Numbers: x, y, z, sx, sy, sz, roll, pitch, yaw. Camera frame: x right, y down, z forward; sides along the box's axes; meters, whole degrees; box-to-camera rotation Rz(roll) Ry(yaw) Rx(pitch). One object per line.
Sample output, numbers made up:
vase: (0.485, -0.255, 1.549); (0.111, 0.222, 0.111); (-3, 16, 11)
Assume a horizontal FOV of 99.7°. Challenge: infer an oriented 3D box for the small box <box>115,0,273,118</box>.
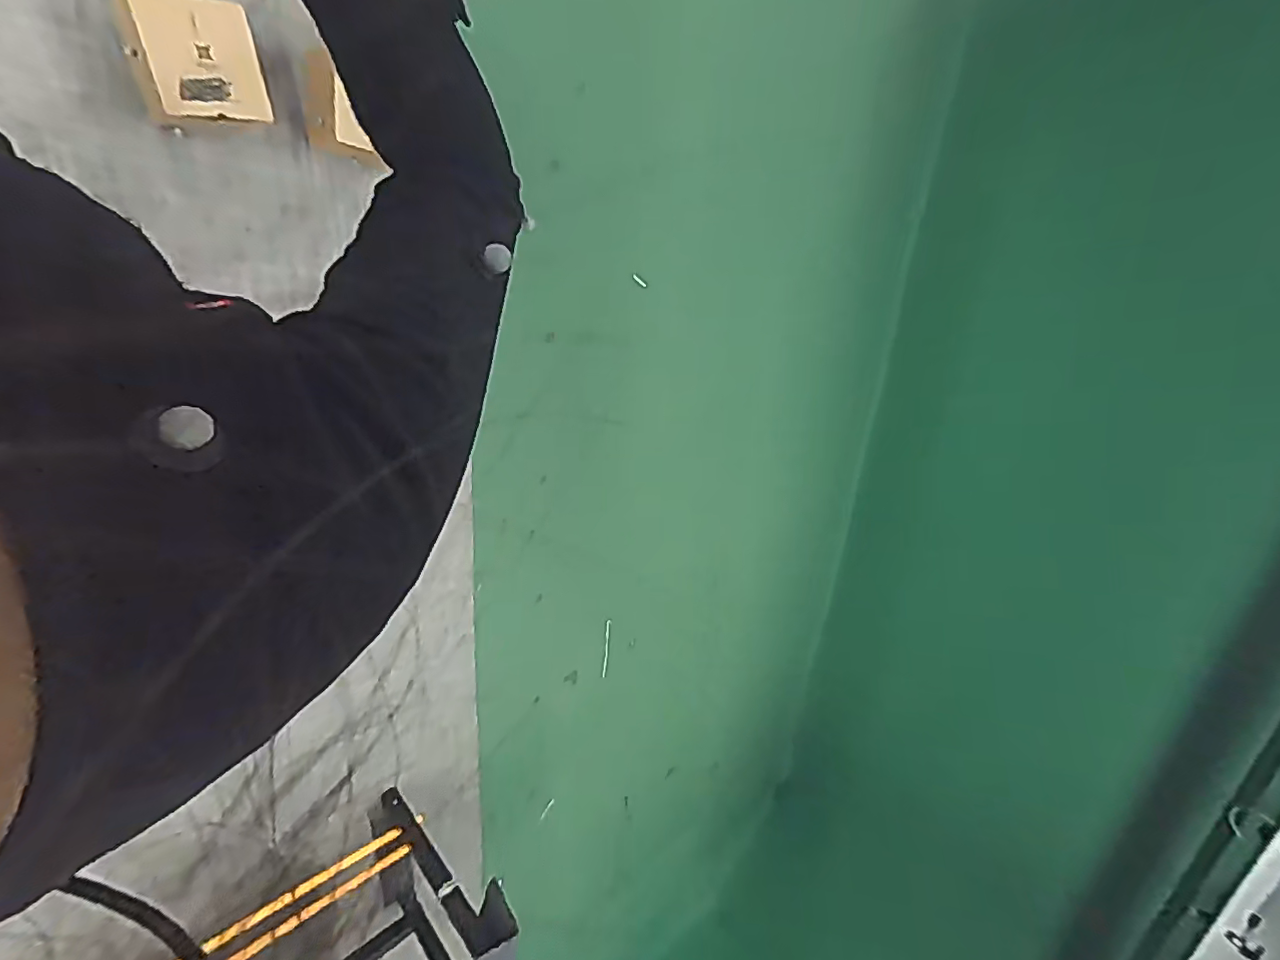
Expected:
small box: (-0.791, -0.761, 0.962); (0.168, 0.176, 0.179); (-25, 125, -39)
